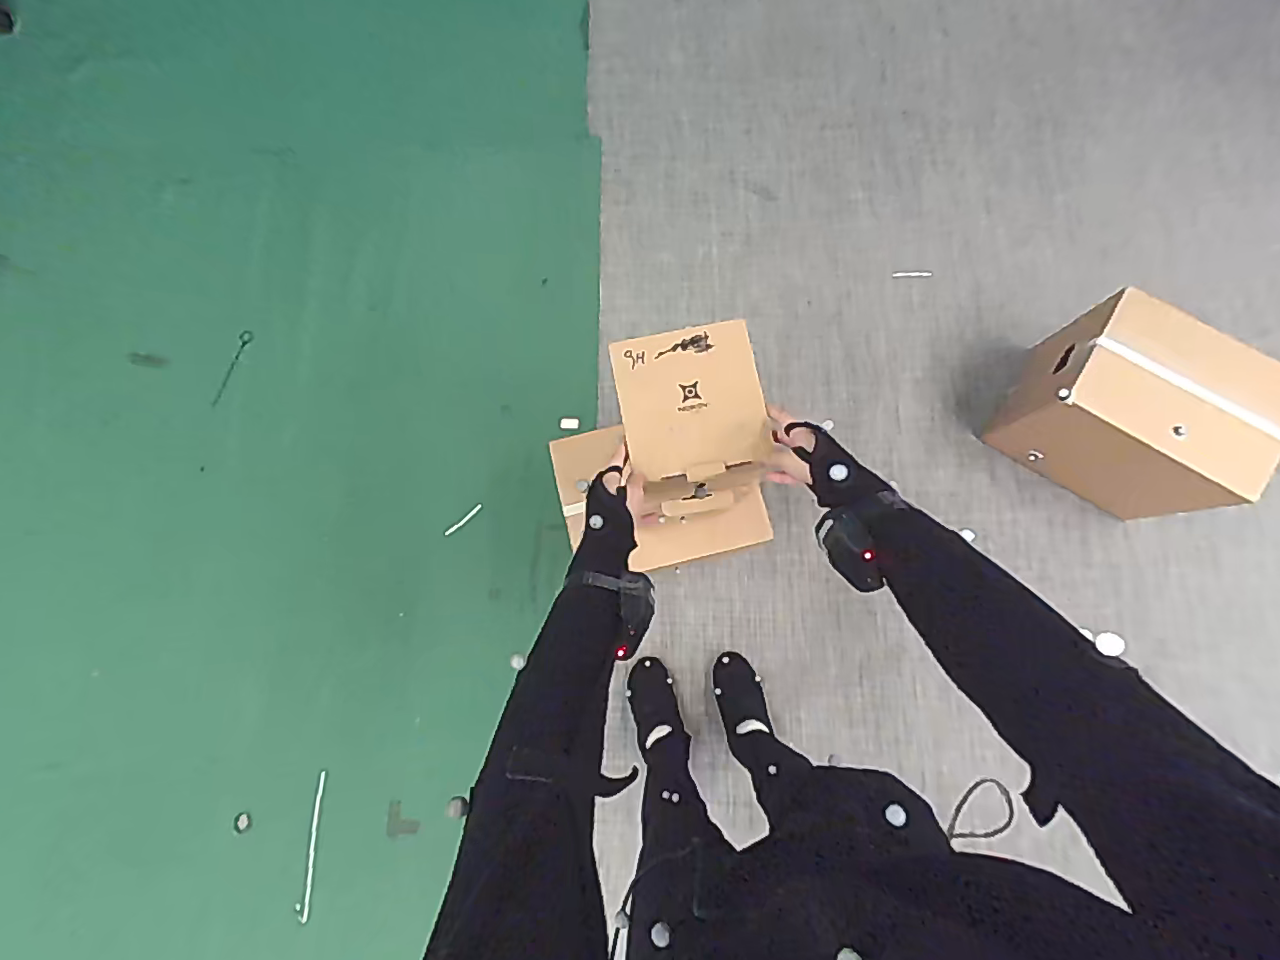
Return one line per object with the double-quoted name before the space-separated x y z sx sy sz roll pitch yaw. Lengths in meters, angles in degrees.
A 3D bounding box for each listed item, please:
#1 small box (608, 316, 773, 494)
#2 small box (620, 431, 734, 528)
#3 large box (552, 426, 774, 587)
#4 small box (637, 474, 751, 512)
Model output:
"small box" 0.060 -0.082 0.698 0.168 0.176 0.179 -11 81 0
"small box" 0.068 -0.010 1.018 0.179 0.176 0.168 -11 80 0
"large box" 0.052 0.046 1.257 0.408 0.320 0.320 -15 77 1
"small box" 0.070 -0.049 0.858 0.168 0.176 0.179 -10 79 0
